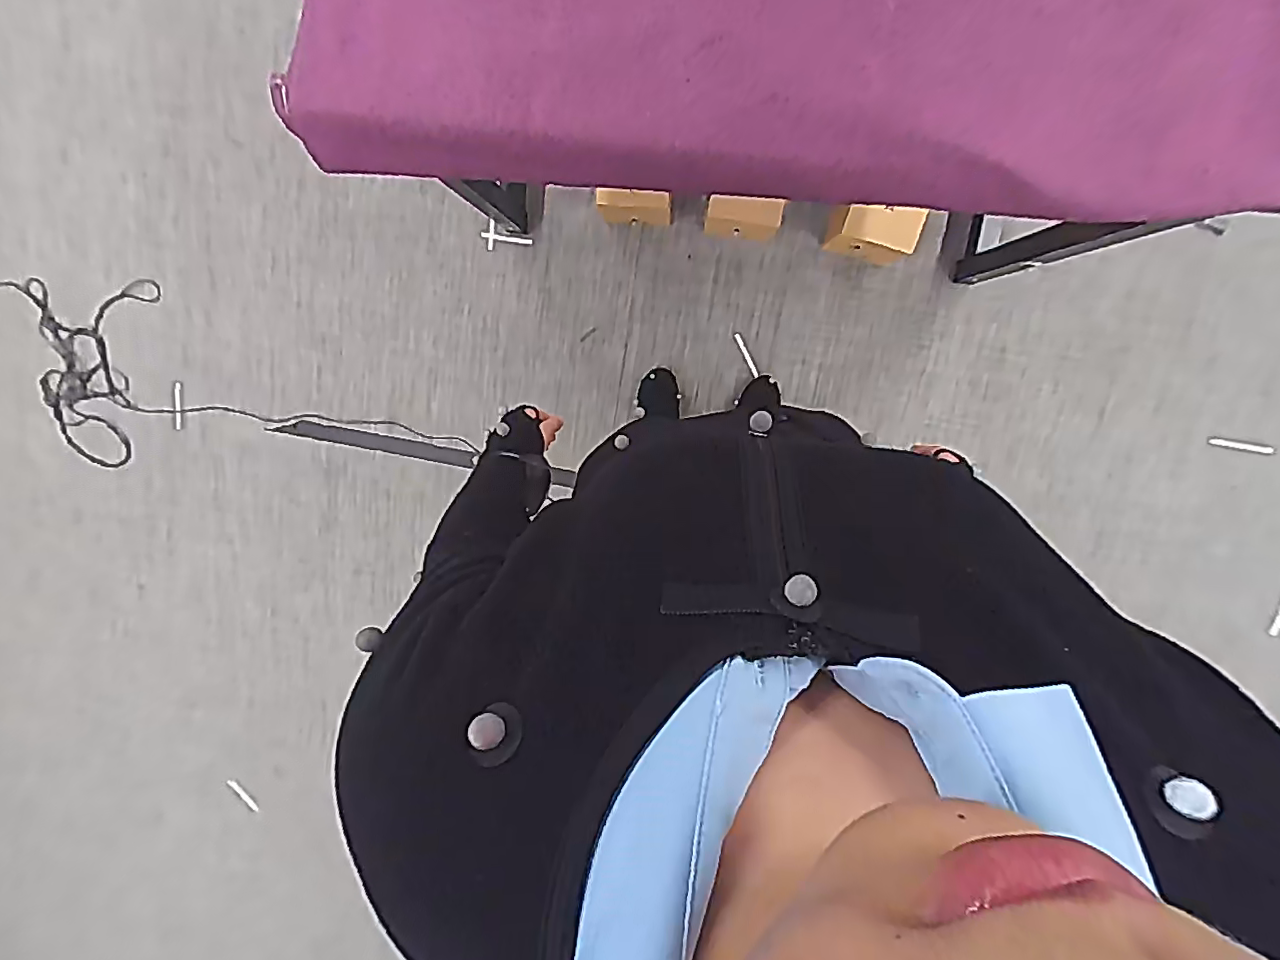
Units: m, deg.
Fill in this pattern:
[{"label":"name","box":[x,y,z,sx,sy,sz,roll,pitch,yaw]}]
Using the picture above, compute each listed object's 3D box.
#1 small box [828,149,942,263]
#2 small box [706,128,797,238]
[{"label":"small box","box":[0.555,-0.625,1.256,0.168,0.176,0.179,17,102,1]},{"label":"small box","box":[0.252,-0.682,1.264,0.168,0.176,0.179,10,102,1]}]
